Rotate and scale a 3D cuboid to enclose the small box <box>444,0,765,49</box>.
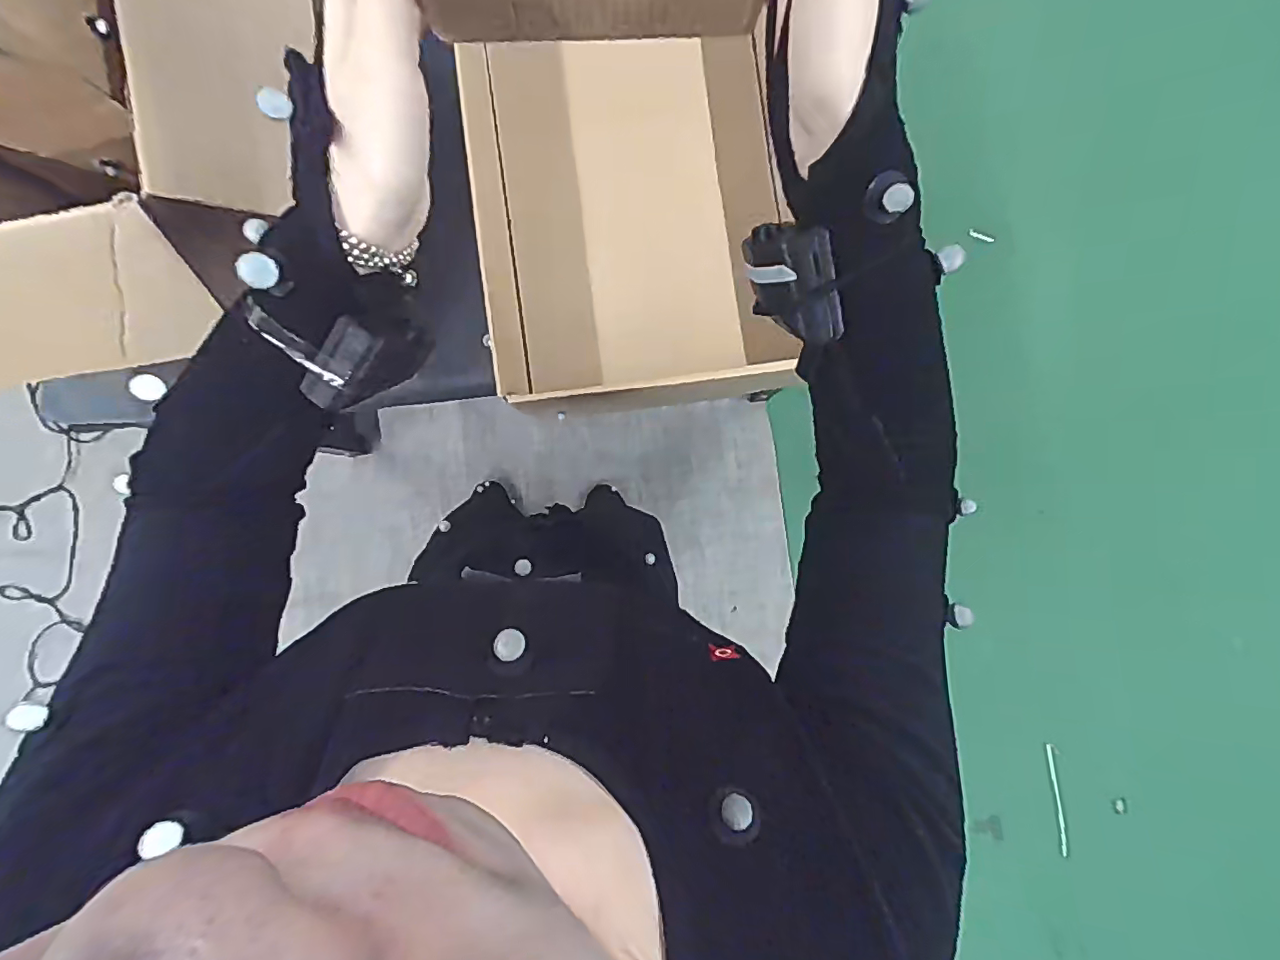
[{"bbox_3d":[-0.018,-0.310,0.215,0.179,0.176,0.168,-2,101,-1],"label":"small box"}]
